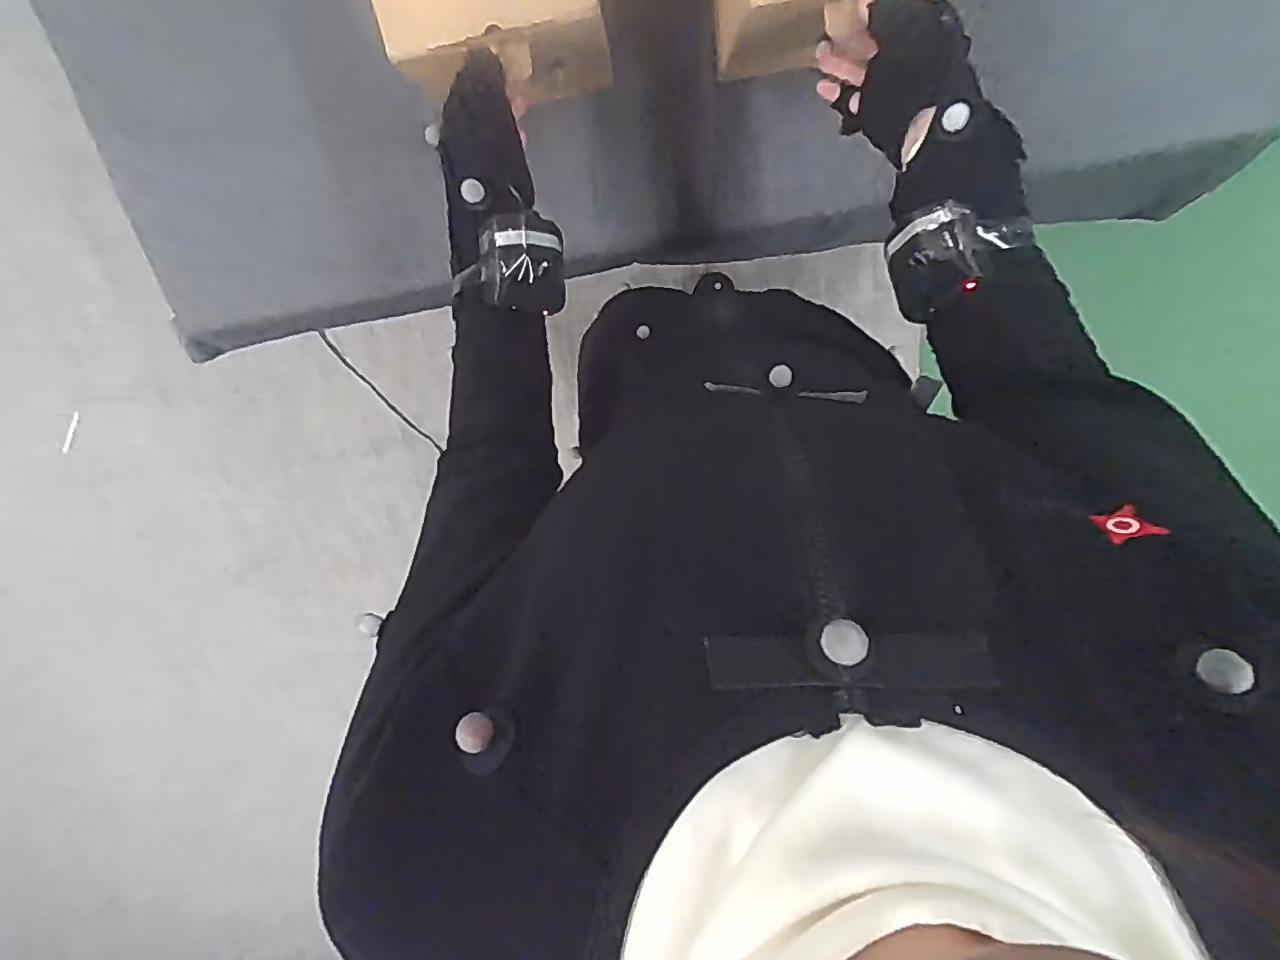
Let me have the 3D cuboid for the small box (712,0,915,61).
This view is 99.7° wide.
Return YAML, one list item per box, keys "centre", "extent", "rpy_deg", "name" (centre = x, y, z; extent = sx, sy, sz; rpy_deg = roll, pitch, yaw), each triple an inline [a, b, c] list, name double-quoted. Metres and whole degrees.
- centre: [0.147, -0.471, 0.435]
  extent: [0.168, 0.176, 0.179]
  rpy_deg: [-8, 111, 2]
  name: "small box"

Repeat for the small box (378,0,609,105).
- centre: [-0.124, -0.444, 0.451]
  extent: [0.168, 0.176, 0.179]
  rpy_deg: [-11, 109, 3]
  name: "small box"
